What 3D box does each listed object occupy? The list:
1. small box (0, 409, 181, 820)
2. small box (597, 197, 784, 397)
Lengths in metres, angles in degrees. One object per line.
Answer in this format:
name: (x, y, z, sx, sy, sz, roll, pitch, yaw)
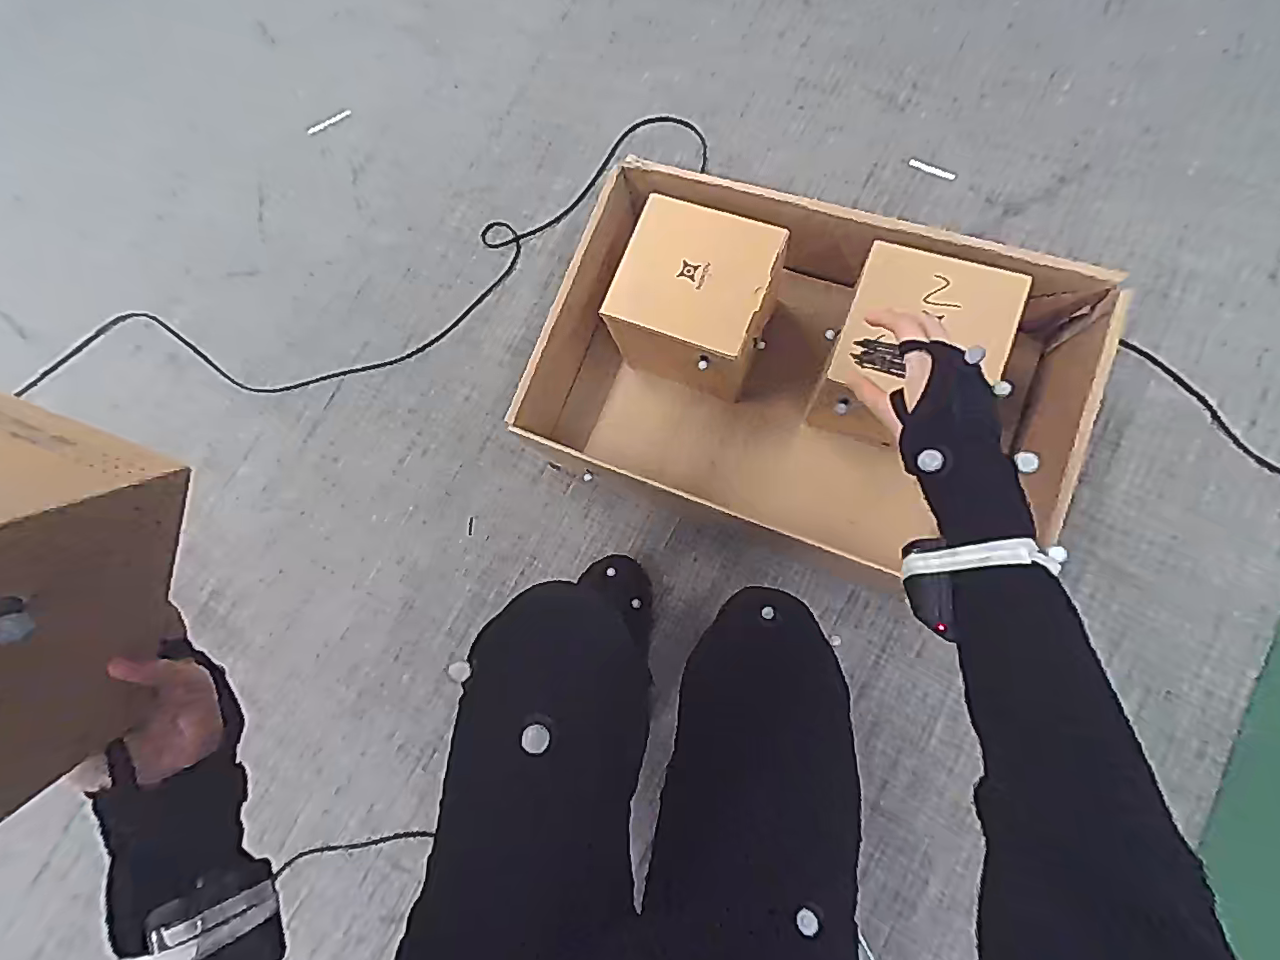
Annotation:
small box: (-0.354, 0.063, 0.235, 0.168, 0.176, 0.179, 23, 106, -3)
small box: (0.069, -0.227, 0.708, 0.179, 0.176, 0.168, 21, 85, 11)
